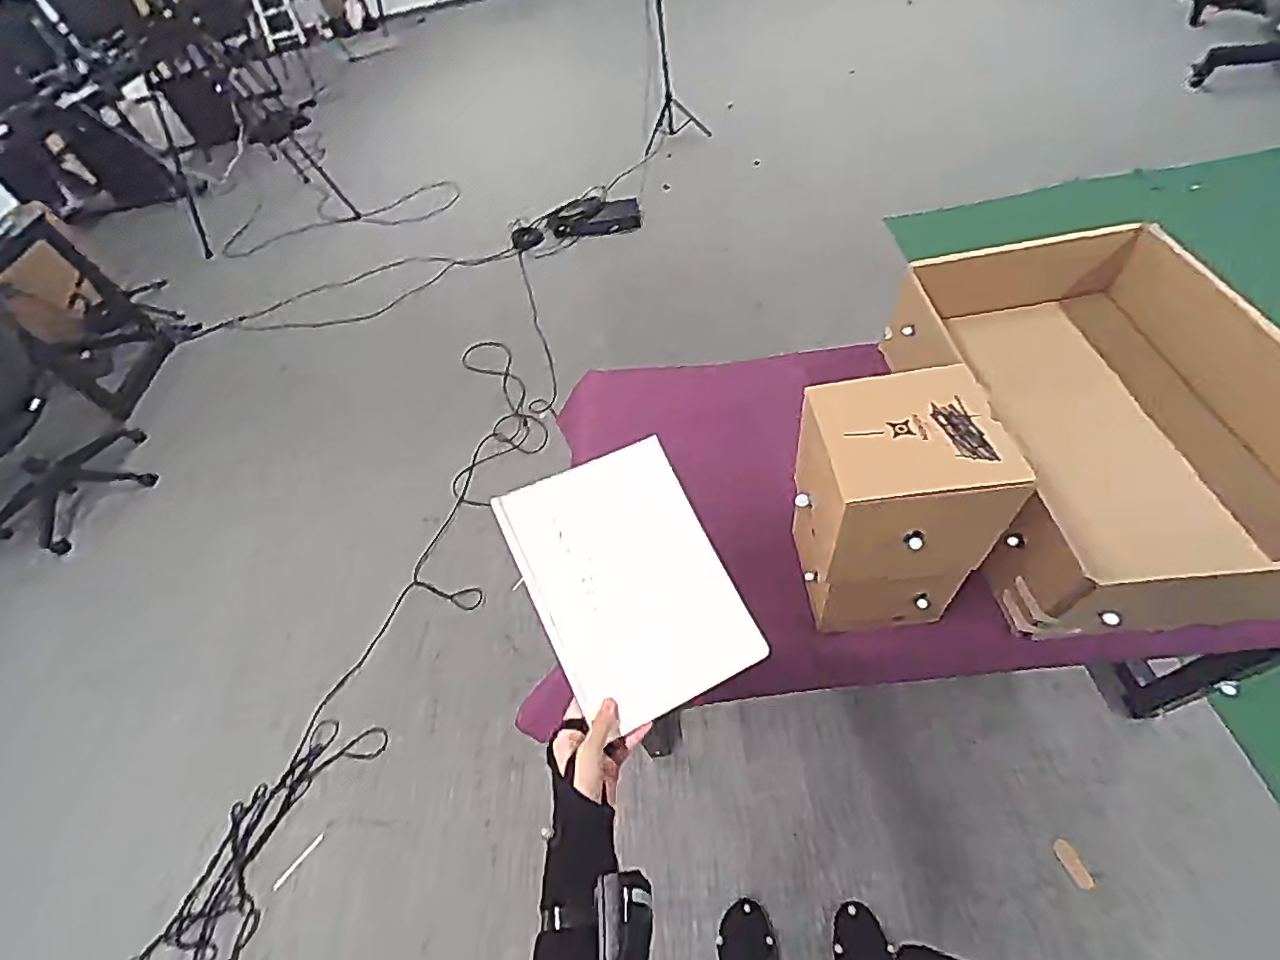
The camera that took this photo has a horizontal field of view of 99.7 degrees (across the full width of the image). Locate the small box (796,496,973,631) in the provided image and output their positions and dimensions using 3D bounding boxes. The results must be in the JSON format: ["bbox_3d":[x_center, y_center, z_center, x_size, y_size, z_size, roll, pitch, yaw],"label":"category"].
[{"bbox_3d":[0.318,0.096,0.744,0.168,0.176,0.179,-7,50,6],"label":"small box"}]

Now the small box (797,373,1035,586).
[{"bbox_3d":[0.286,0.005,0.611,0.179,0.176,0.168,-7,51,6],"label":"small box"}]
